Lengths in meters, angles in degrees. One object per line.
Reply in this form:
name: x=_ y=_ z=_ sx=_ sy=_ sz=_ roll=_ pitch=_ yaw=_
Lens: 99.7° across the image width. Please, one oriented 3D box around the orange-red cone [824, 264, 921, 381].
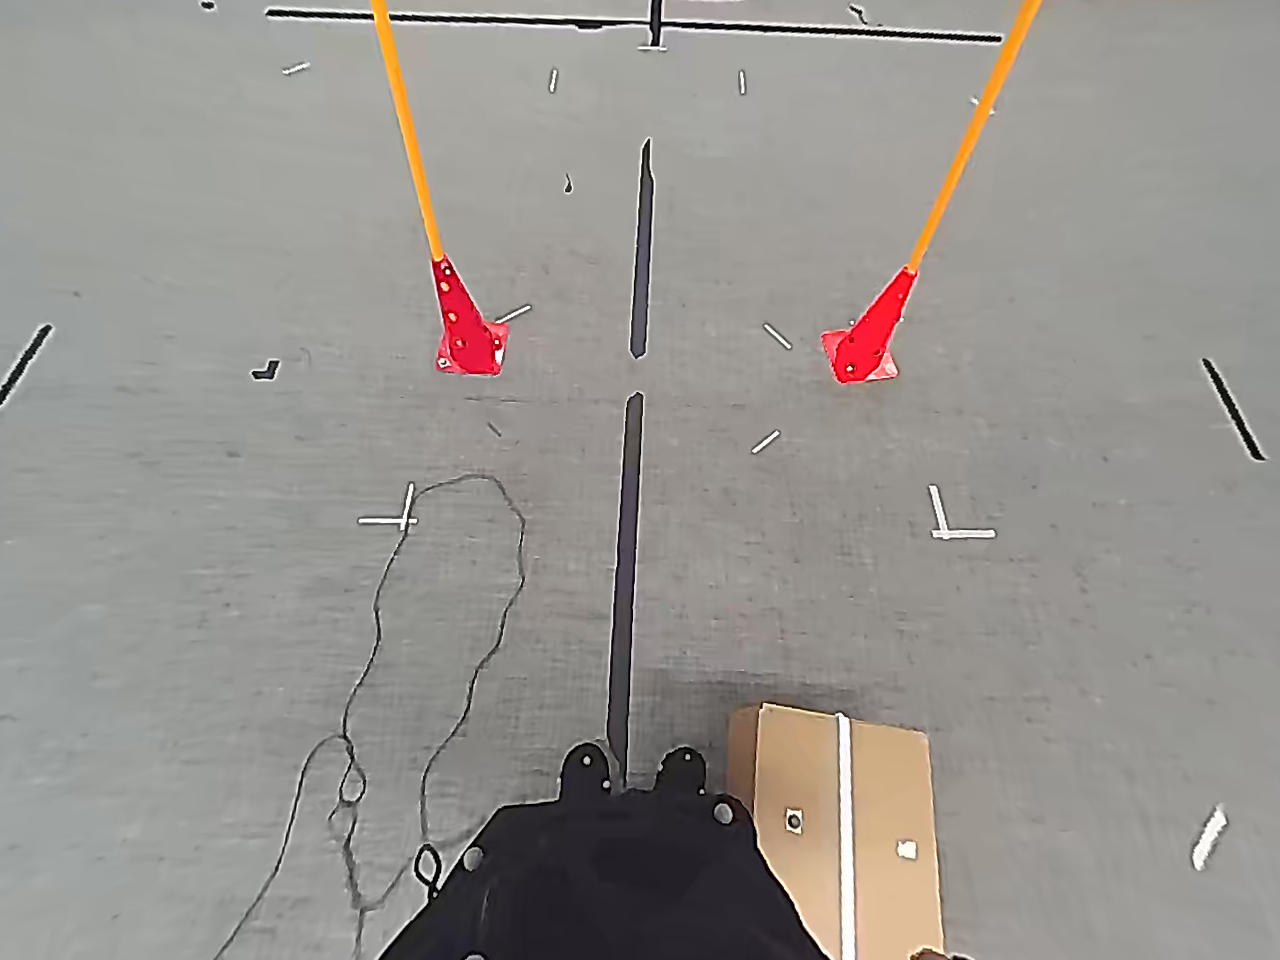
orange-red cone: x=0.695 y=-0.466 z=1.539 sx=0.199 sy=0.360 sz=0.198 roll=-5 pitch=66 yaw=-5
